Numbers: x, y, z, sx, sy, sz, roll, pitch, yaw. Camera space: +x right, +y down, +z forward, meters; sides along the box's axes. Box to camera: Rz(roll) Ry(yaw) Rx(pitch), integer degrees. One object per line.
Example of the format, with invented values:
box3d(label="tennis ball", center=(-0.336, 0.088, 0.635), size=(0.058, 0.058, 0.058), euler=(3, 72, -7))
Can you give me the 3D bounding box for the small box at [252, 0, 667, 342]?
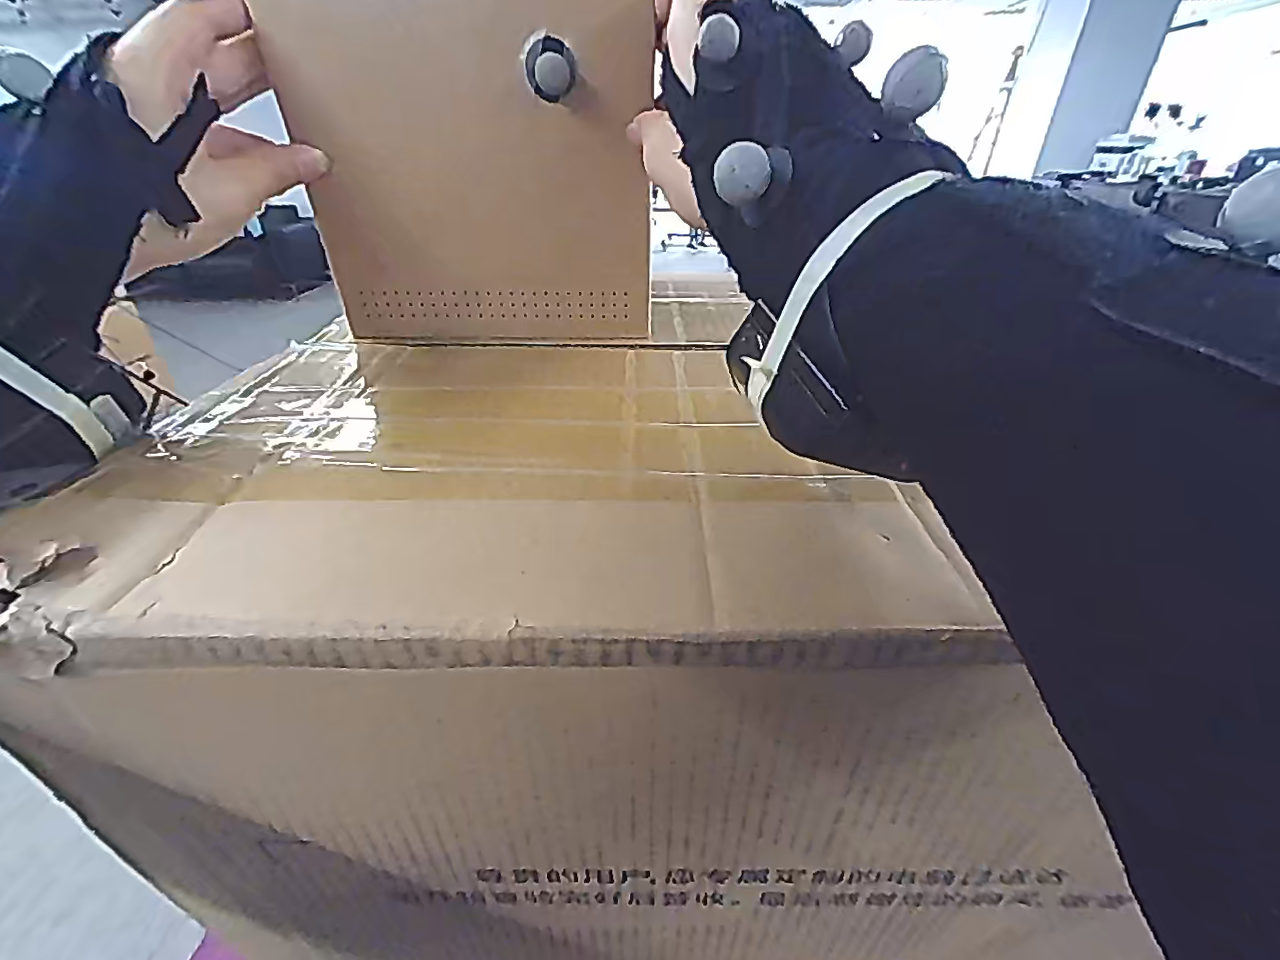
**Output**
box3d(label="small box", center=(-0.078, -0.192, 0.331), size=(0.179, 0.176, 0.168), euler=(0, 36, -1))
